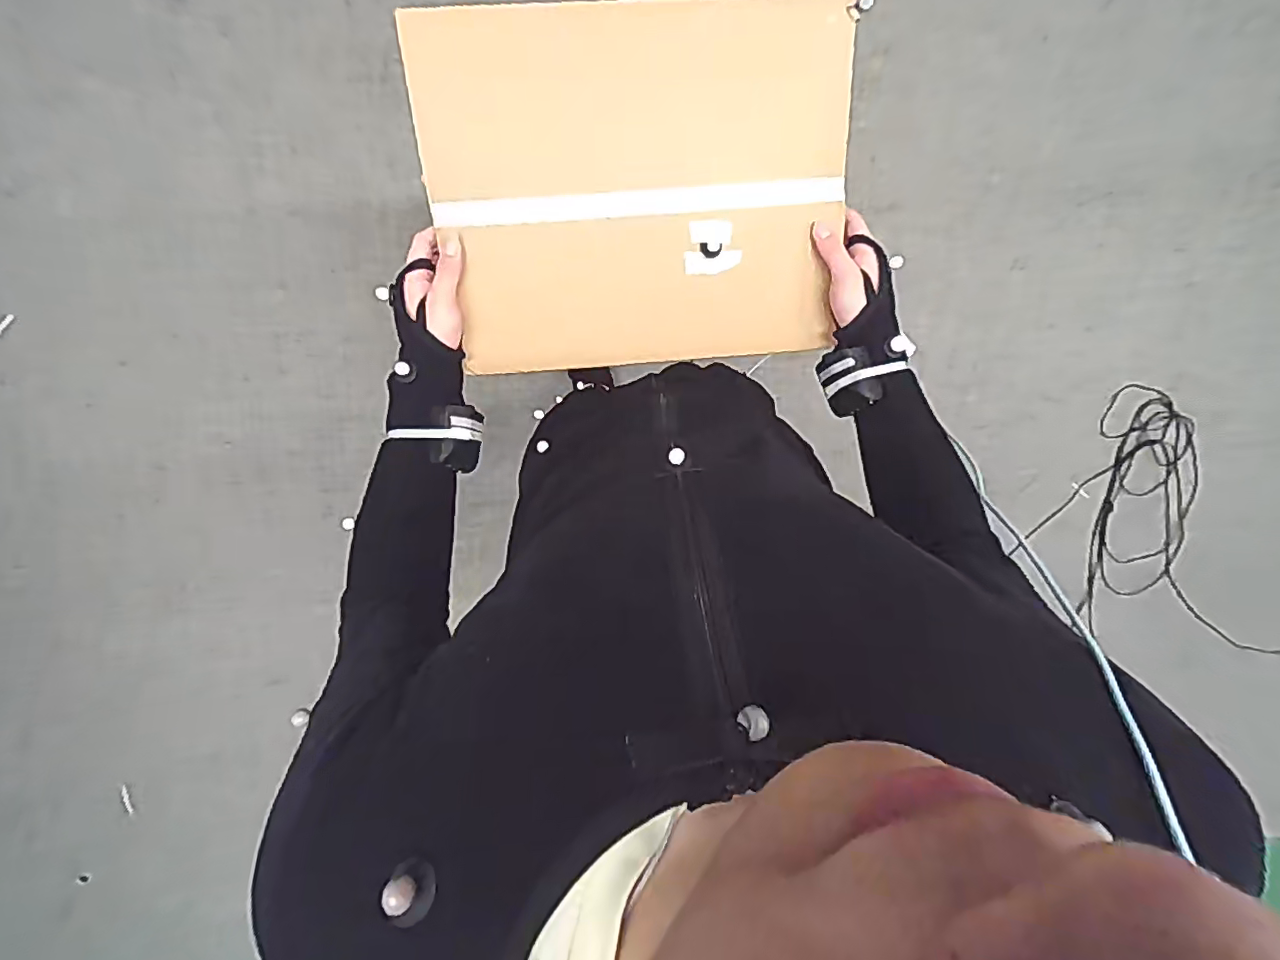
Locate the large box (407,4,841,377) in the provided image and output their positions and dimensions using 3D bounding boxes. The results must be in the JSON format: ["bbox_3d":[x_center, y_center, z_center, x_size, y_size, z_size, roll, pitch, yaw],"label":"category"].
[{"bbox_3d":[-0.014,-0.328,0.680,0.408,0.320,0.320,-6,113,-3],"label":"large box"}]
